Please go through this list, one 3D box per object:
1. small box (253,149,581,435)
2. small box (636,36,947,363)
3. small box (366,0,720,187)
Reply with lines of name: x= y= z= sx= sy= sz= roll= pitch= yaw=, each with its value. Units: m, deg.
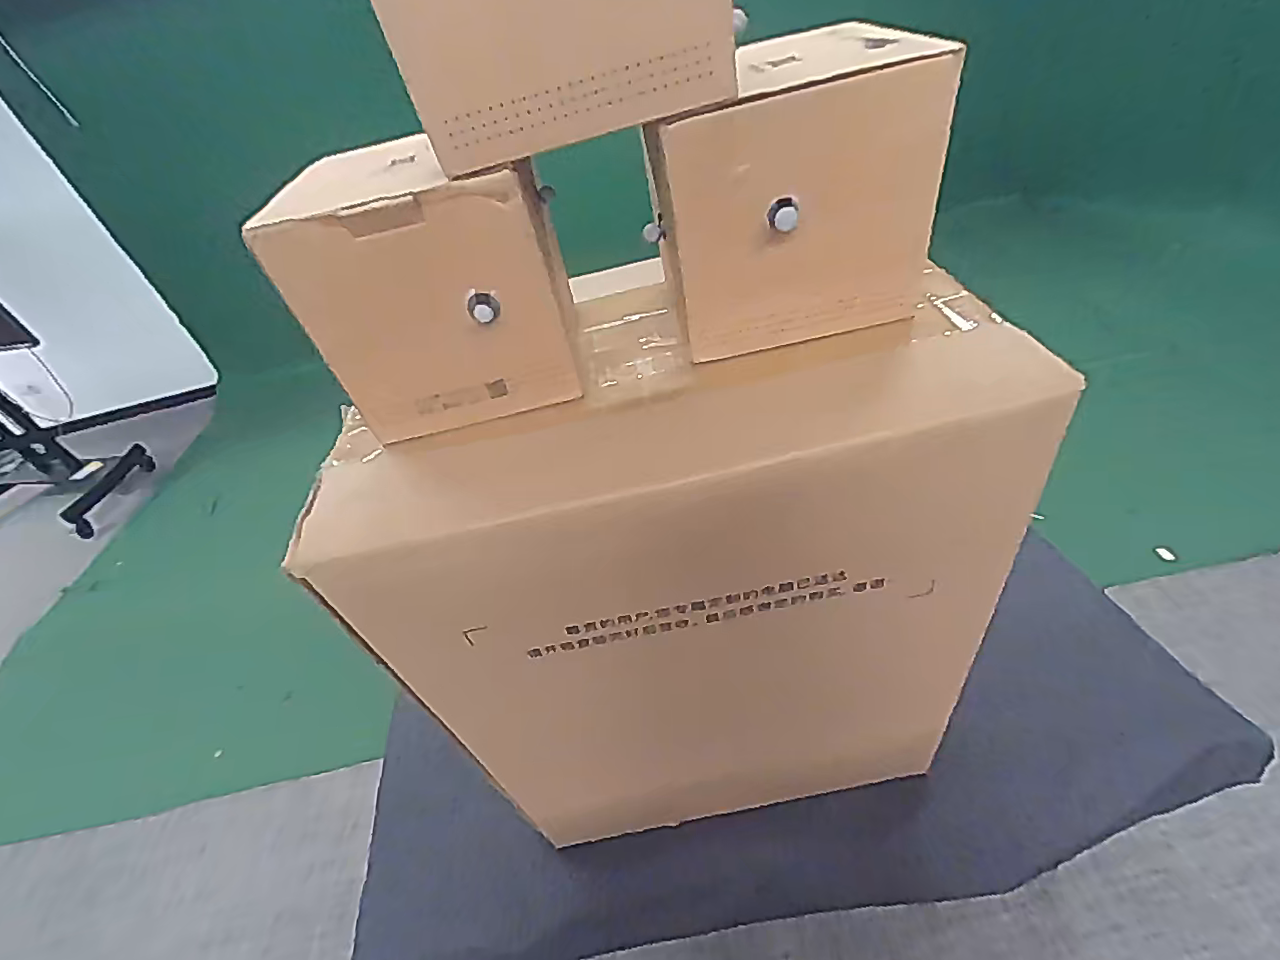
small box: x=-0.148 y=-0.152 z=0.432 sx=0.168 sy=0.176 sz=0.179 roll=-13 pitch=42 yaw=1
small box: x=0.101 y=-0.213 z=0.422 sx=0.179 sy=0.176 sz=0.168 roll=-13 pitch=44 yaw=4
small box: x=-0.057 y=-0.298 z=0.315 sx=0.179 sy=0.176 sz=0.168 roll=-15 pitch=43 yaw=3
